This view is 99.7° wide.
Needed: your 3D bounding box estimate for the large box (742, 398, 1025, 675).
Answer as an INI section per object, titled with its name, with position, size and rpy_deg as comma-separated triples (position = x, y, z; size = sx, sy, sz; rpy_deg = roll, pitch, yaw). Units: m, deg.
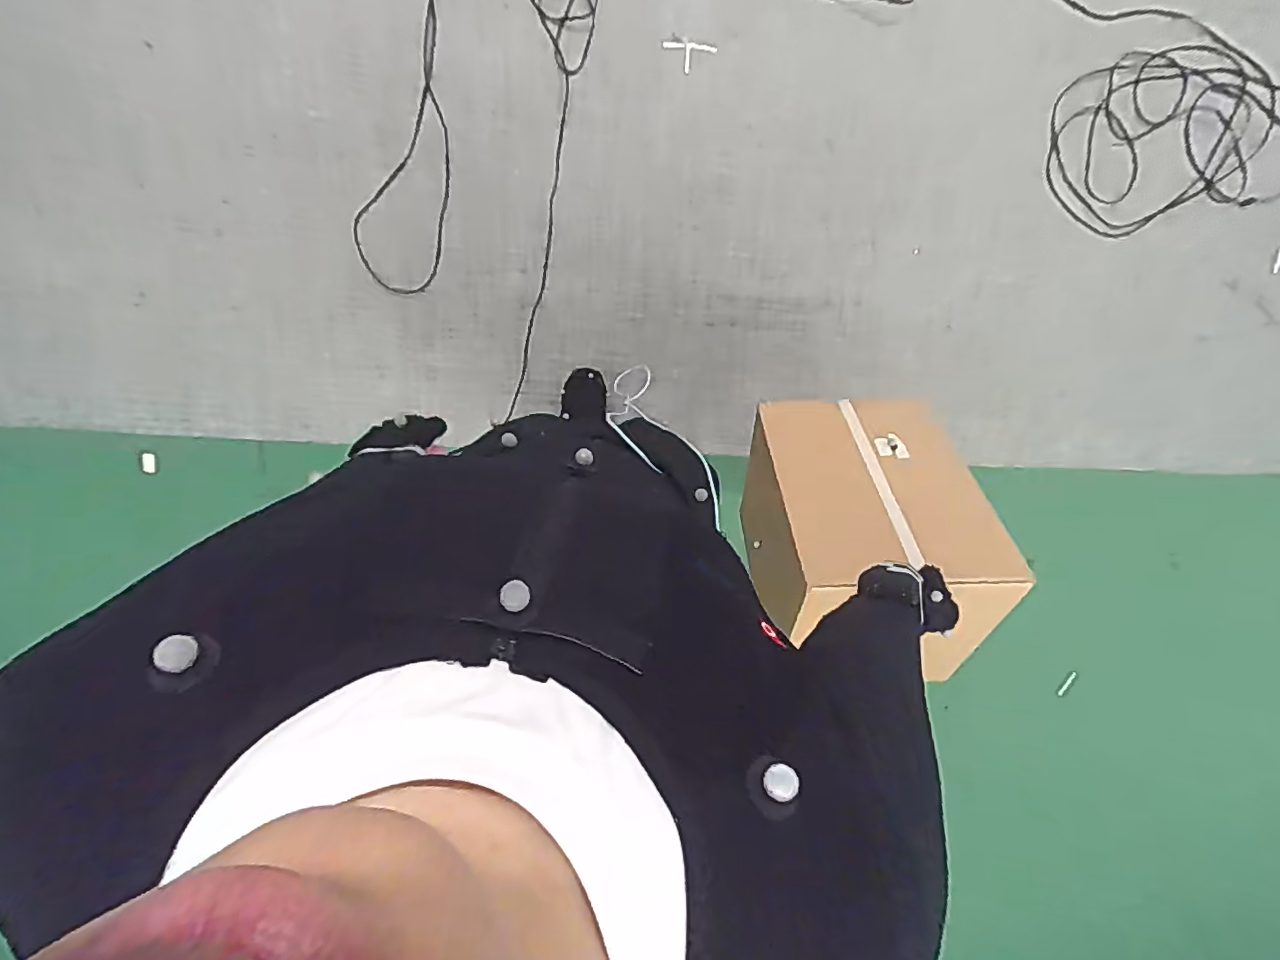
[large box]
position = 0.381, 0.098, 0.987
size = 0.320, 0.408, 0.320
rpy_deg = -1, 136, 0
